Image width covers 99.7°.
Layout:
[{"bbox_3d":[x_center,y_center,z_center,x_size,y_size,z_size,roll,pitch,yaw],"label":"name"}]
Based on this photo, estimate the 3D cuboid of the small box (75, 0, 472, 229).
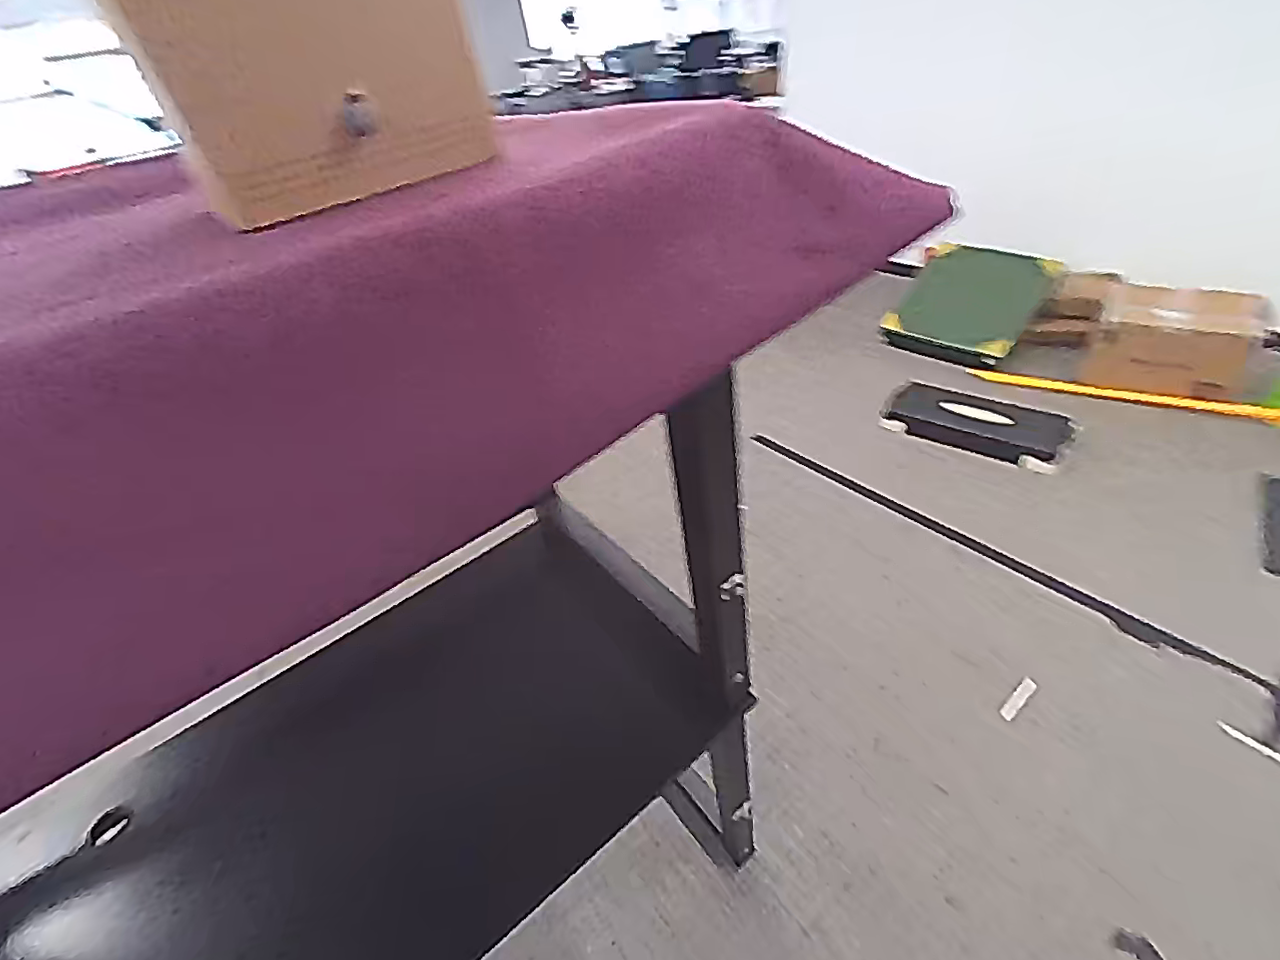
[{"bbox_3d":[-0.228,-0.278,0.342,0.179,0.176,0.168,-34,43,-25],"label":"small box"}]
